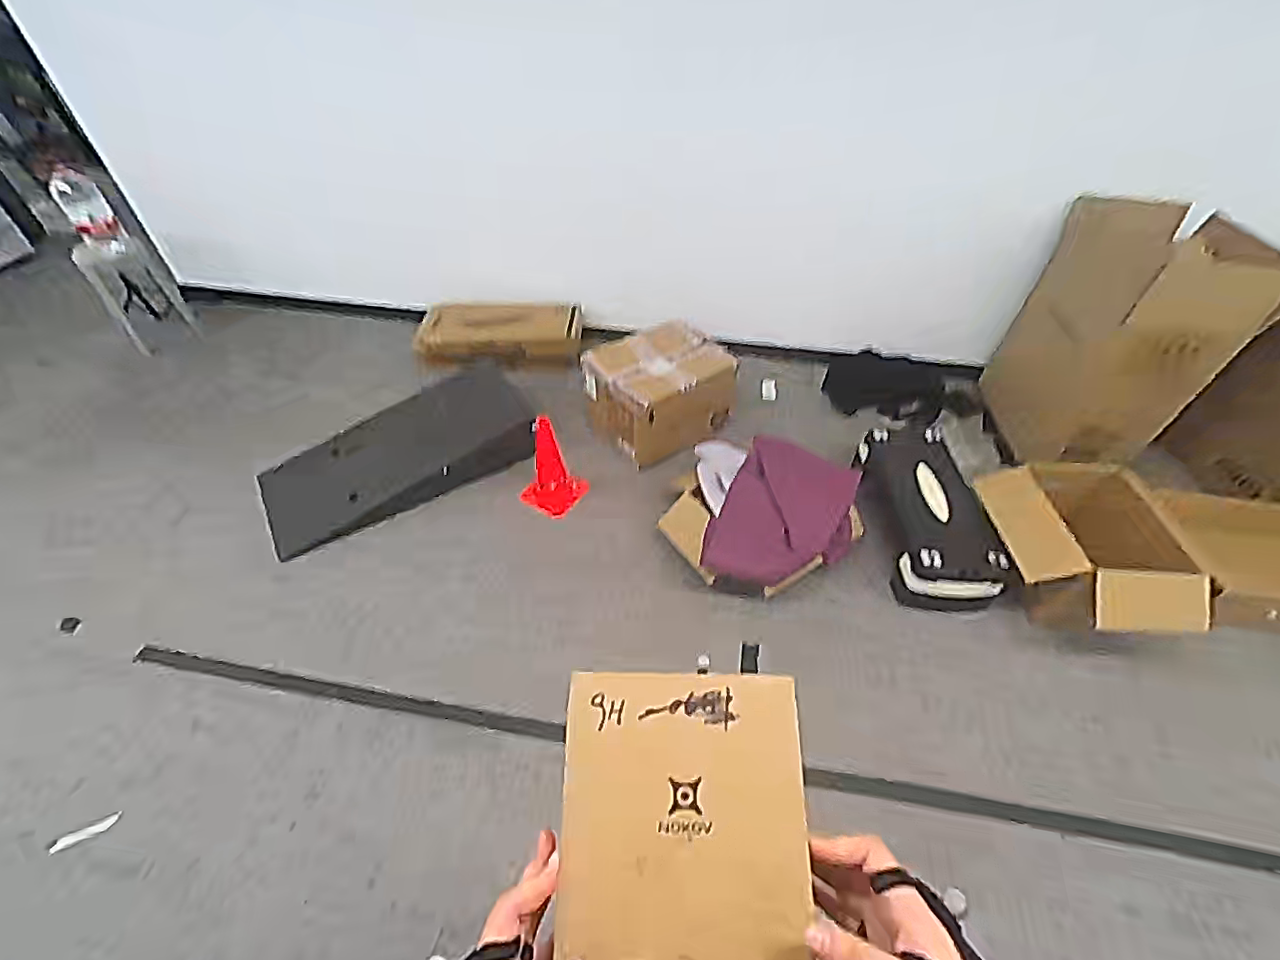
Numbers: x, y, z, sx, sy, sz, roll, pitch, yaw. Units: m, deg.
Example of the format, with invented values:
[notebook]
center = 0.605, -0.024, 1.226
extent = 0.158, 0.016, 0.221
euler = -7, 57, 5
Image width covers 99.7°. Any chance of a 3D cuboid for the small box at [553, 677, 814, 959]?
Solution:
[small box]
center = 0.031, 0.255, 0.435
extent = 0.168, 0.176, 0.179
euler = 1, 70, 1
